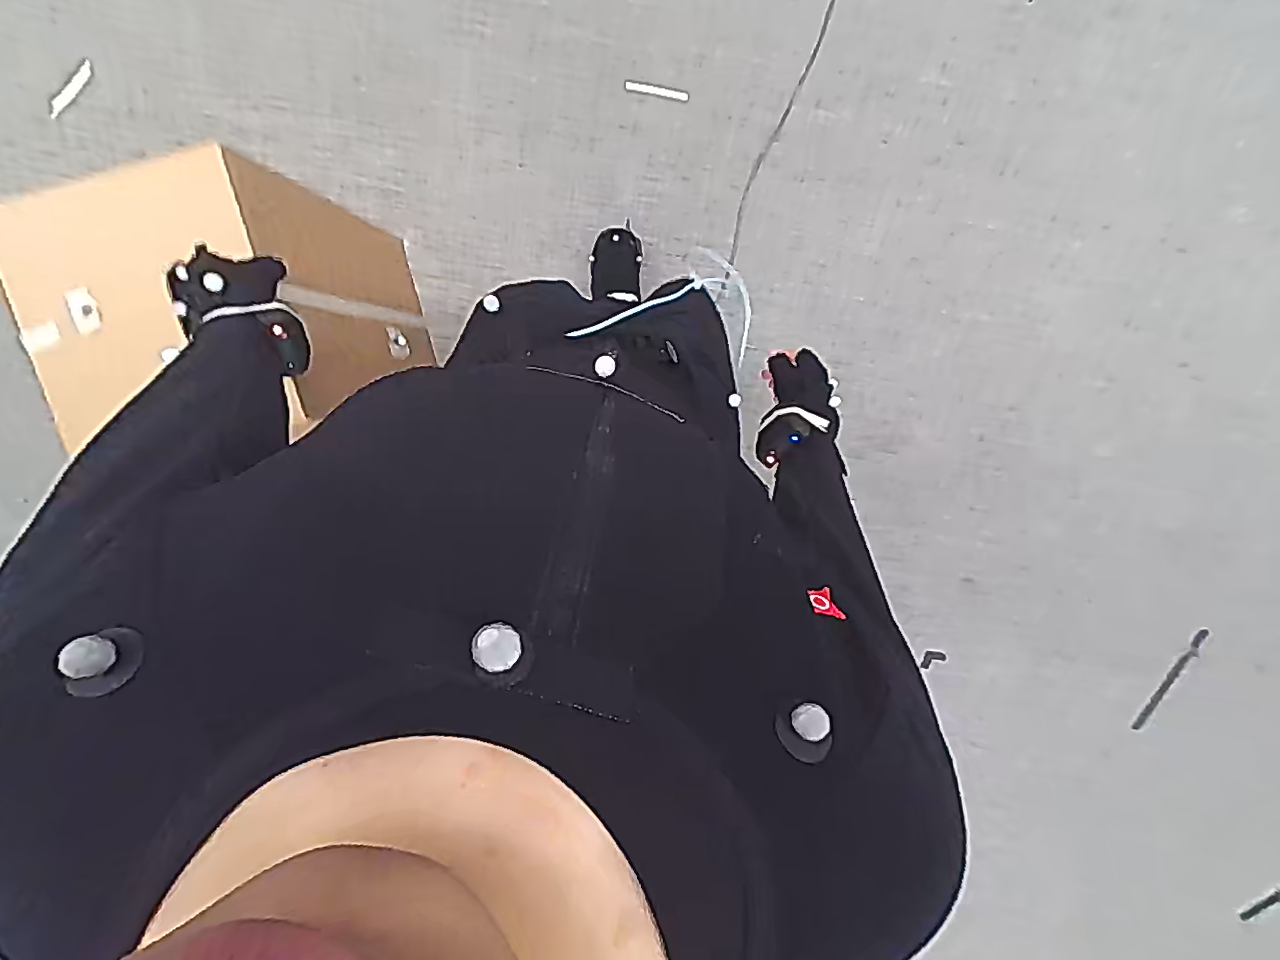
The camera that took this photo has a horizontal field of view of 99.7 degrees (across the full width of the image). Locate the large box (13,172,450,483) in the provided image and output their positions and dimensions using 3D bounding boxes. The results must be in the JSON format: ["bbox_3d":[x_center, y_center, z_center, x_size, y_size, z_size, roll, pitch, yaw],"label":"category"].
[{"bbox_3d":[-0.555,-0.205,0.836,0.320,0.408,0.320,-12,99,5],"label":"large box"}]
